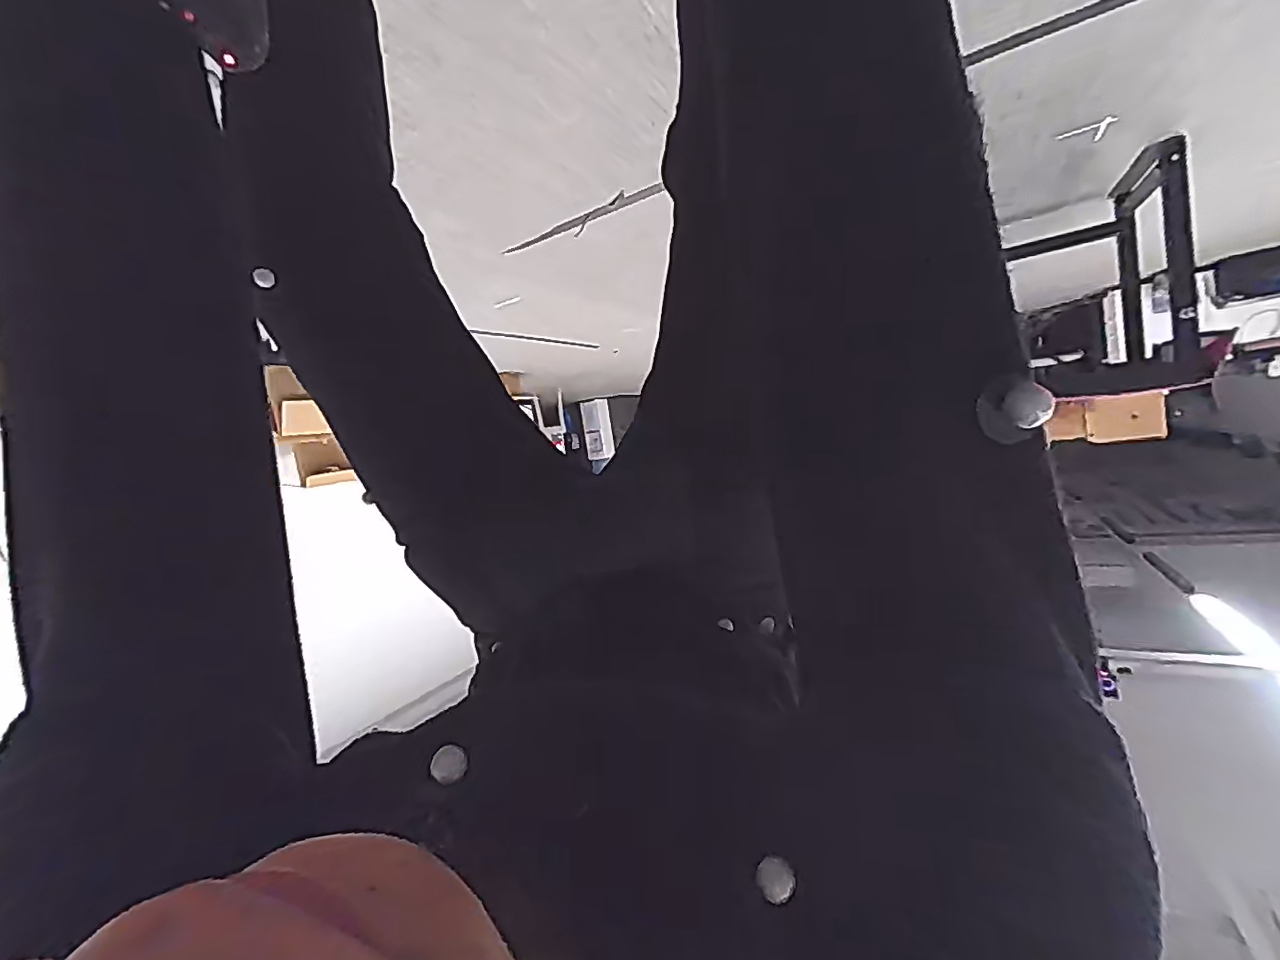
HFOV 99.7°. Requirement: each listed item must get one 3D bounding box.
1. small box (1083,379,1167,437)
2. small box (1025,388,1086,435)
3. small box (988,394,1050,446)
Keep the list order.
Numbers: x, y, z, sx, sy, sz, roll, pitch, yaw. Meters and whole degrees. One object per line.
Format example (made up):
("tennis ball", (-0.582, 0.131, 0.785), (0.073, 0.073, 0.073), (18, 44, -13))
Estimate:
("small box", (1.646, -0.246, 1.842), (0.179, 0.176, 0.168), (-7, -176, 30))
("small box", (1.643, -0.271, 2.146), (0.168, 0.176, 0.179), (-6, -175, 31))
("small box", (1.392, -0.222, 1.991), (0.168, 0.176, 0.179), (-7, -177, 31))
